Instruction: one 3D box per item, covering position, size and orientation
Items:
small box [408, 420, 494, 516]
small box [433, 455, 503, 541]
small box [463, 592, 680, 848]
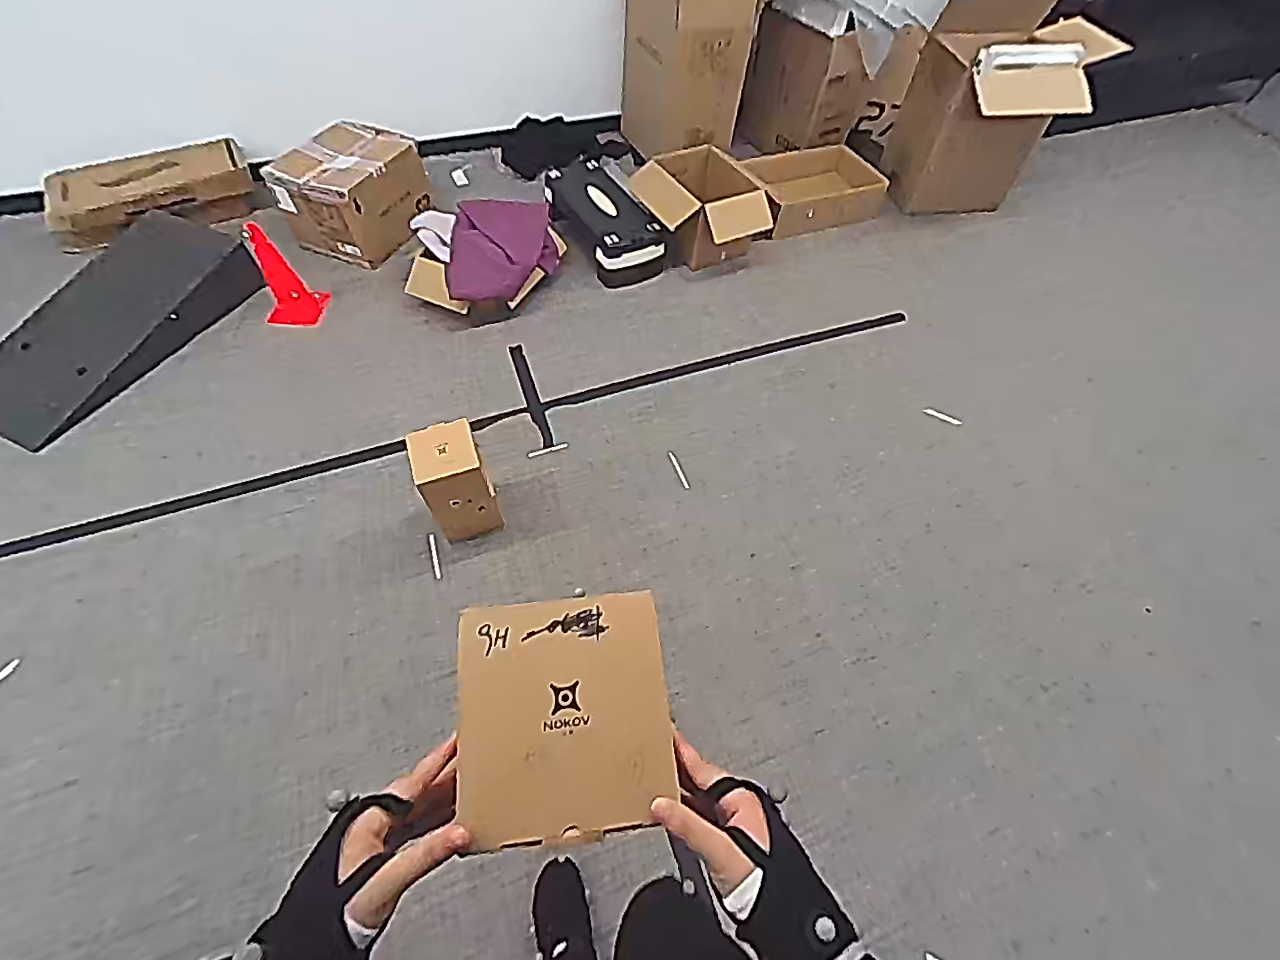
[{"bbox_3d":[-0.511,-0.030,1.471,0.168,0.176,0.179,-18,60,-12],"label":"small box"},{"bbox_3d":[-0.516,0.055,1.609,0.179,0.176,0.168,-18,59,-14],"label":"small box"},{"bbox_3d":[-0.062,0.213,0.506,0.168,0.176,0.179,-5,67,-7],"label":"small box"}]
